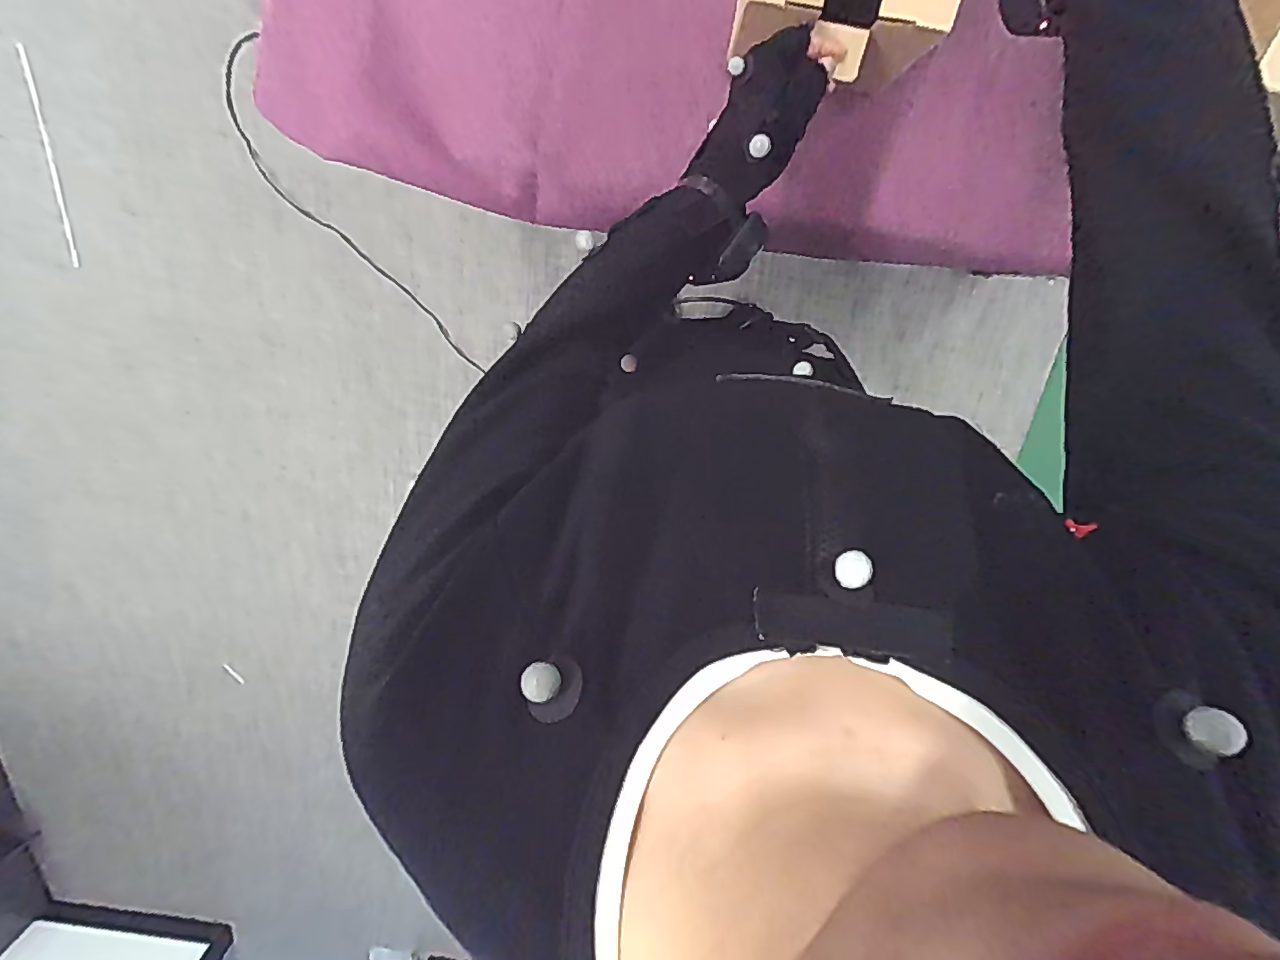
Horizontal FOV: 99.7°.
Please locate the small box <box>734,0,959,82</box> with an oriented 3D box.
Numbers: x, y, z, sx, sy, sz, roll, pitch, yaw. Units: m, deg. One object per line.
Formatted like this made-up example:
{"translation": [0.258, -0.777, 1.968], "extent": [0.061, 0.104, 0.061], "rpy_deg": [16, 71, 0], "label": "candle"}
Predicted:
{"translation": [0.181, -0.472, 0.461], "extent": [0.168, 0.176, 0.179], "rpy_deg": [9, 112, 0], "label": "small box"}
